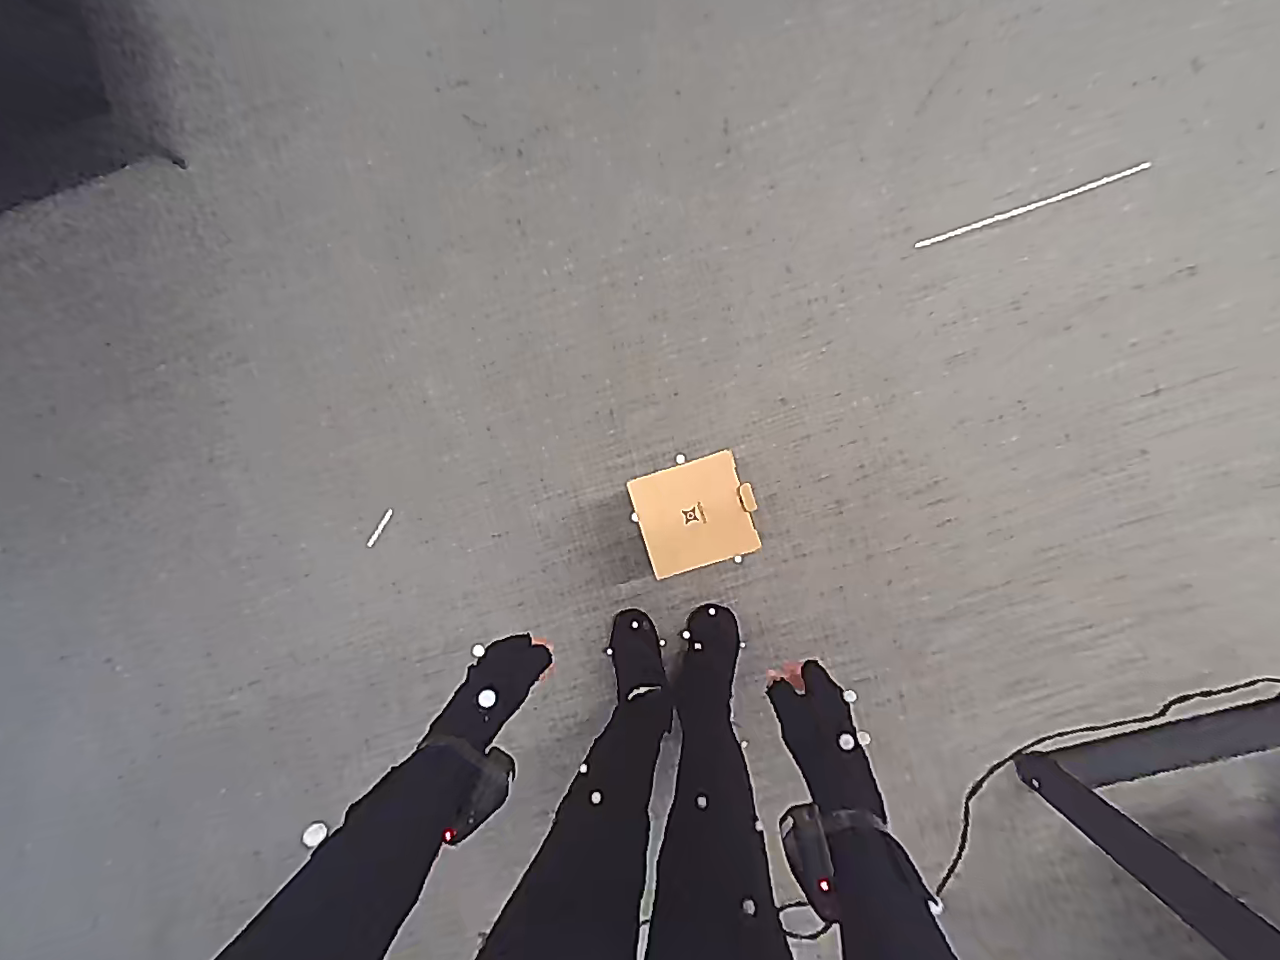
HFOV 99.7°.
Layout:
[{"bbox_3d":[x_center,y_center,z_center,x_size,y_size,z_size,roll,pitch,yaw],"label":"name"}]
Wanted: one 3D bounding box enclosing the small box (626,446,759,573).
[{"bbox_3d":[0.090,0.051,0.936,0.179,0.176,0.168,-18,88,4],"label":"small box"}]
